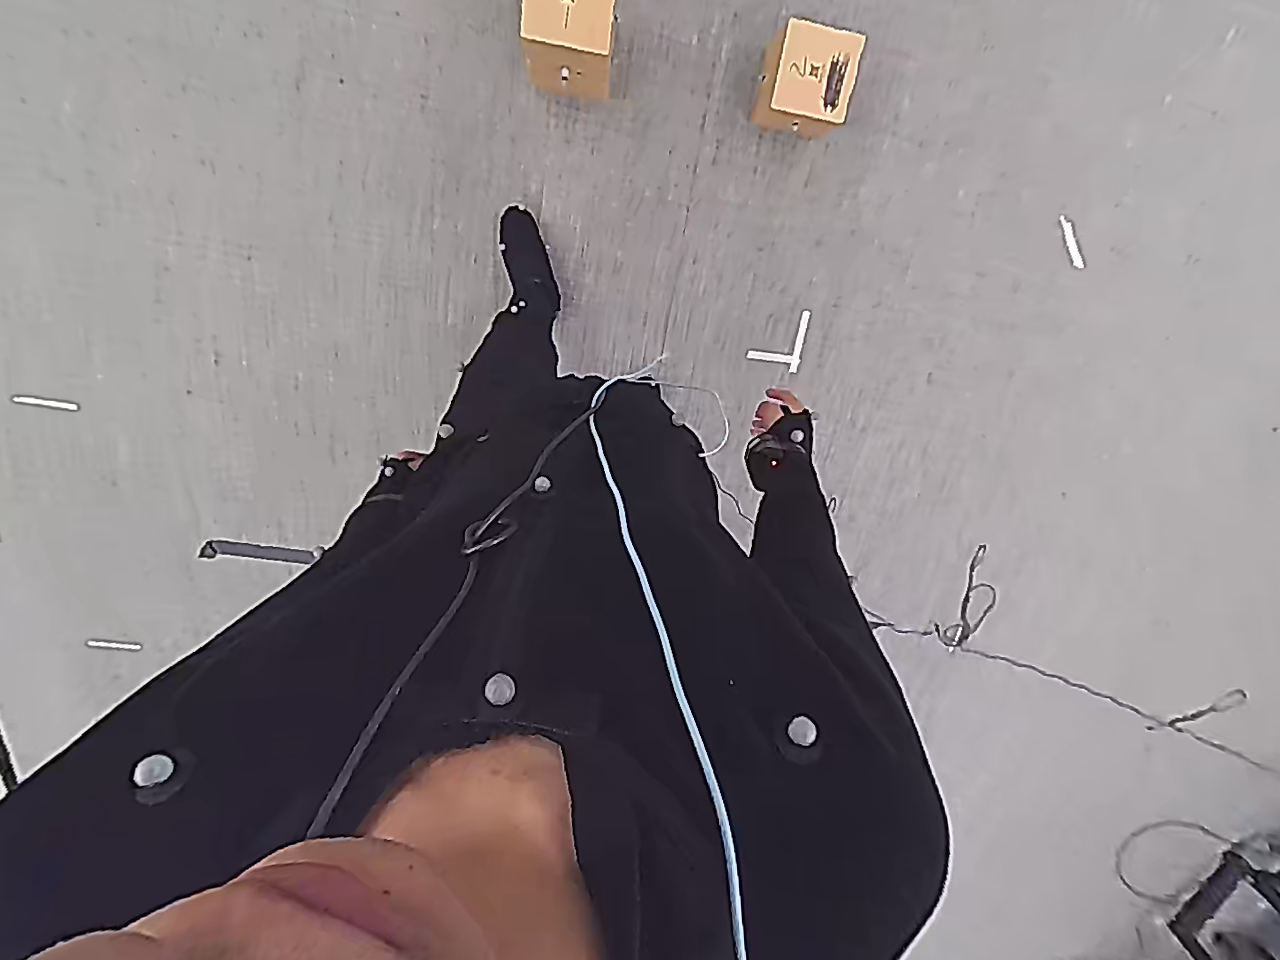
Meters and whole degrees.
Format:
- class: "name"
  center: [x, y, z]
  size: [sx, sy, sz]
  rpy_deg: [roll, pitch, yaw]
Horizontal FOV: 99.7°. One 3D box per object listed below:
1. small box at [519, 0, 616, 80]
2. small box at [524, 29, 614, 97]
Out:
- class: "small box"
  center: [-0.133, -0.907, 1.033]
  size: [0.168, 0.176, 0.179]
  rpy_deg: [7, 112, -7]
- class: "small box"
  center: [-0.150, -0.967, 1.185]
  size: [0.179, 0.176, 0.168]
  rpy_deg: [7, 112, -6]
